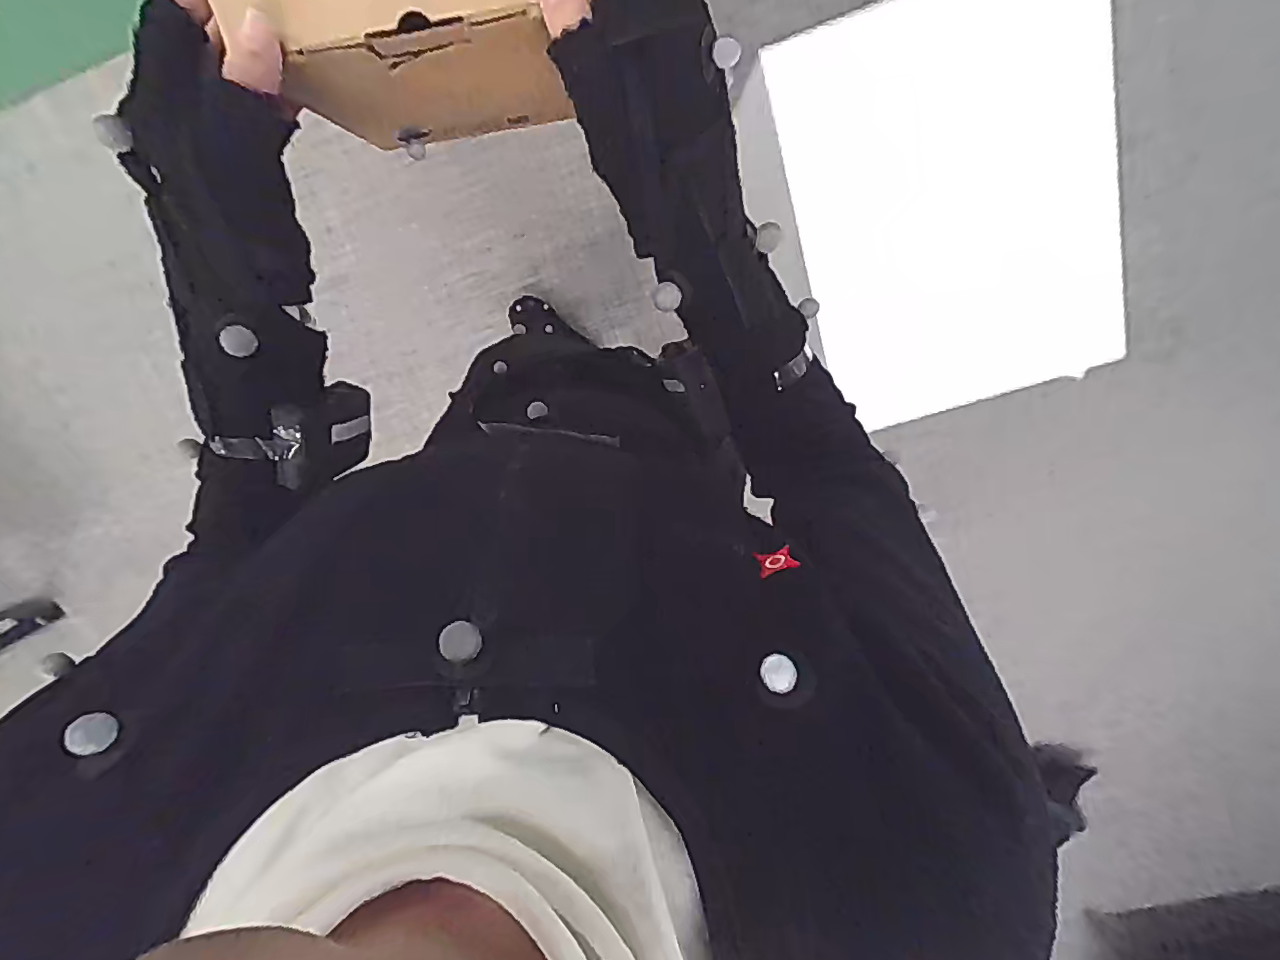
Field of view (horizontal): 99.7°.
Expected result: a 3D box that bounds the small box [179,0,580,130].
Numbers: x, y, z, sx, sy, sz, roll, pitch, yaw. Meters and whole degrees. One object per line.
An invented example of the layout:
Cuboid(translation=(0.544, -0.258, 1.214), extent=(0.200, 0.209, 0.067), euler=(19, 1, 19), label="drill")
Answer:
Cuboid(translation=(-0.131, -0.309, 0.283), extent=(0.168, 0.176, 0.179), euler=(-10, 108, 1), label="small box")
